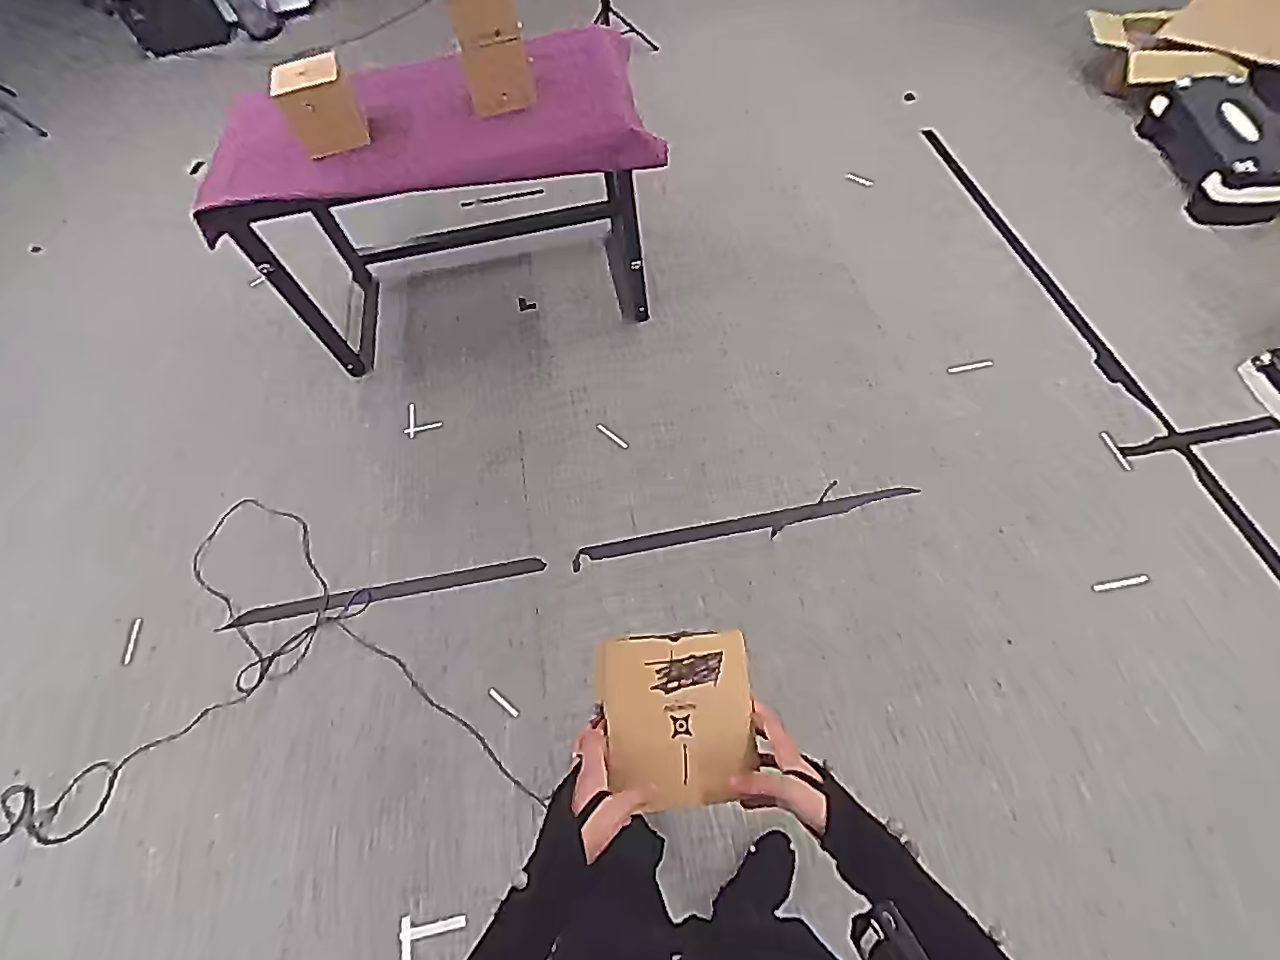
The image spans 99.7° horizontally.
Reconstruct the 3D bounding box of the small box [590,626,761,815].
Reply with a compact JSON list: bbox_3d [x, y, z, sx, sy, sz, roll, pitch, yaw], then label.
[{"bbox_3d":[0.029,0.278,0.655,0.168,0.176,0.179,-2,72,-10],"label":"small box"}]

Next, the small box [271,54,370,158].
[{"bbox_3d":[-0.878,-1.029,1.497,0.179,0.176,0.168,-18,61,-4],"label":"small box"}]

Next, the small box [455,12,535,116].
[{"bbox_3d":[-0.402,-1.168,1.524,0.179,0.176,0.168,-14,61,-2],"label":"small box"}]
